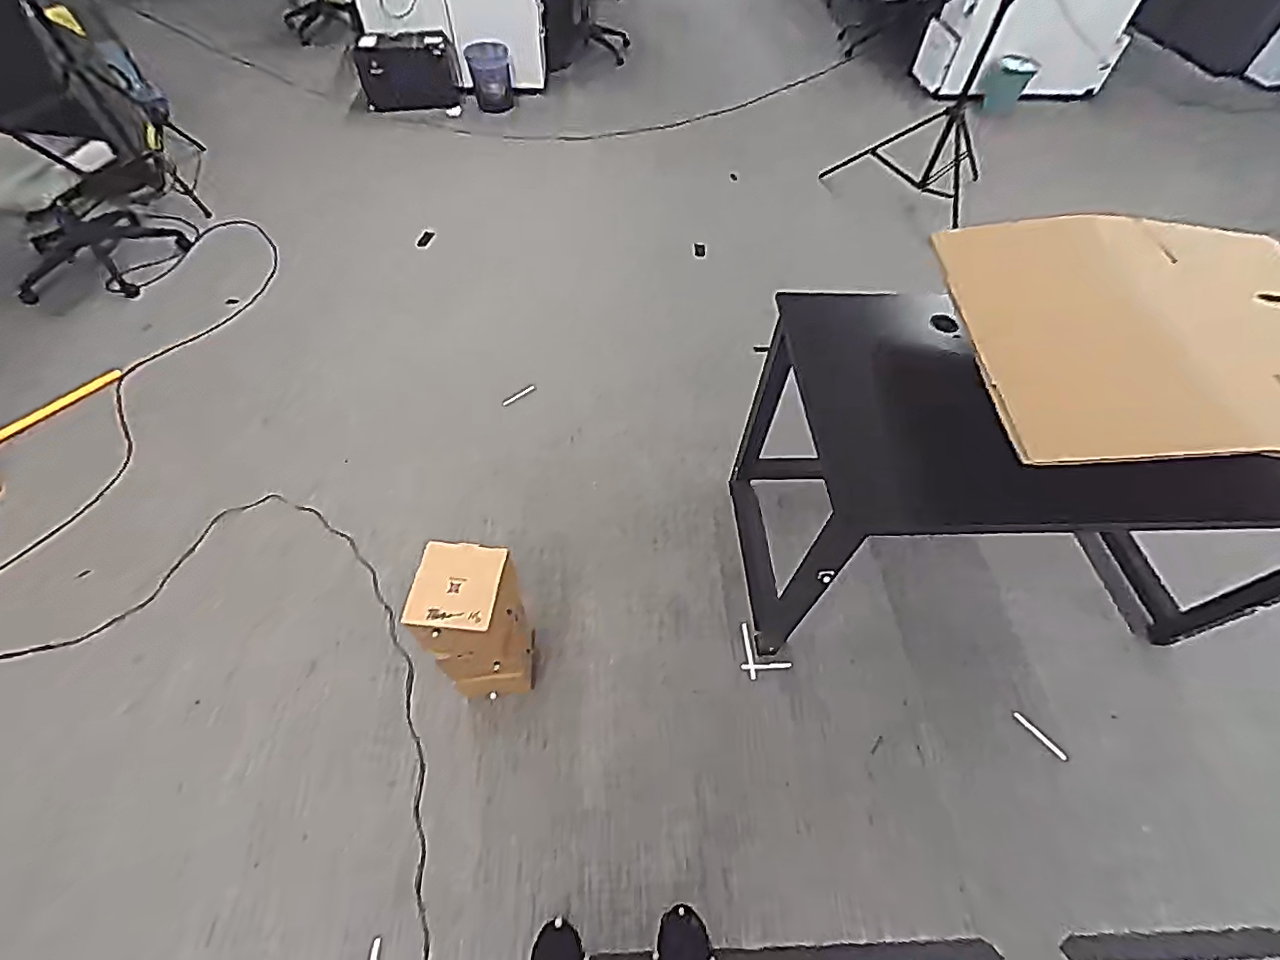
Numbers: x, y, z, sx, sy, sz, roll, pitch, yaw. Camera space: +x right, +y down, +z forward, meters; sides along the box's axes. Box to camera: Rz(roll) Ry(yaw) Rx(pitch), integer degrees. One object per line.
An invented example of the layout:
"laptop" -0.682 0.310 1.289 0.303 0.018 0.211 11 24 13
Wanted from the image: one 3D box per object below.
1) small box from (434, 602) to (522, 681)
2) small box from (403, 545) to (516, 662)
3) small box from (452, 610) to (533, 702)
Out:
"small box" -0.368 0.353 1.253 0.168 0.176 0.179 -6 54 -8
"small box" -0.360 0.258 1.120 0.168 0.176 0.179 5 54 1
"small box" -0.370 0.452 1.382 0.168 0.176 0.179 -4 56 -5
